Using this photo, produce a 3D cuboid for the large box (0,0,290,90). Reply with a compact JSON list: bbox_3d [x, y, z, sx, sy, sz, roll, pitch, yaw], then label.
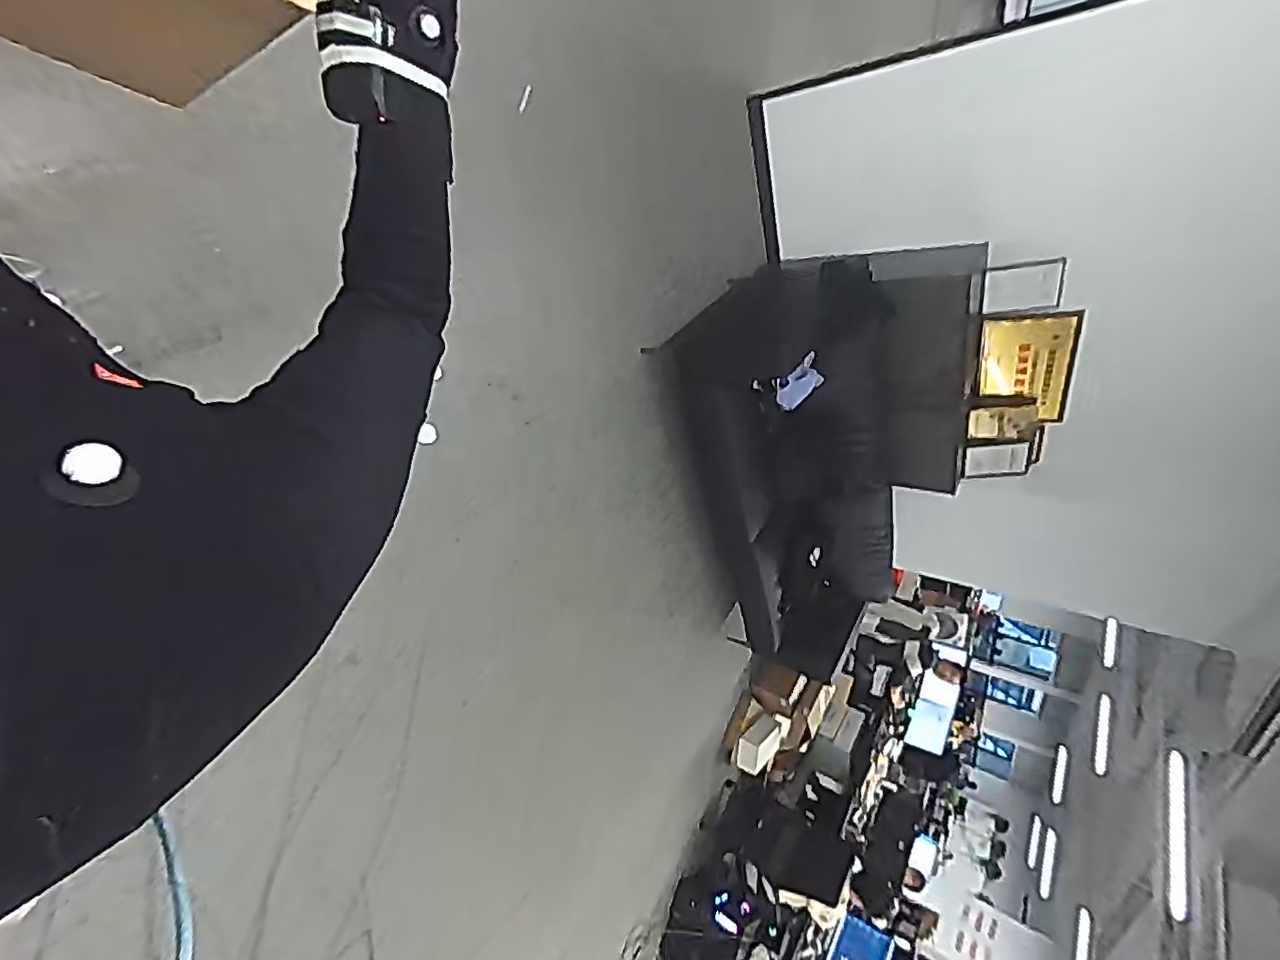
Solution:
[{"bbox_3d":[-0.427,-0.479,0.254,0.408,0.320,0.320,-3,106,-51],"label":"large box"}]
